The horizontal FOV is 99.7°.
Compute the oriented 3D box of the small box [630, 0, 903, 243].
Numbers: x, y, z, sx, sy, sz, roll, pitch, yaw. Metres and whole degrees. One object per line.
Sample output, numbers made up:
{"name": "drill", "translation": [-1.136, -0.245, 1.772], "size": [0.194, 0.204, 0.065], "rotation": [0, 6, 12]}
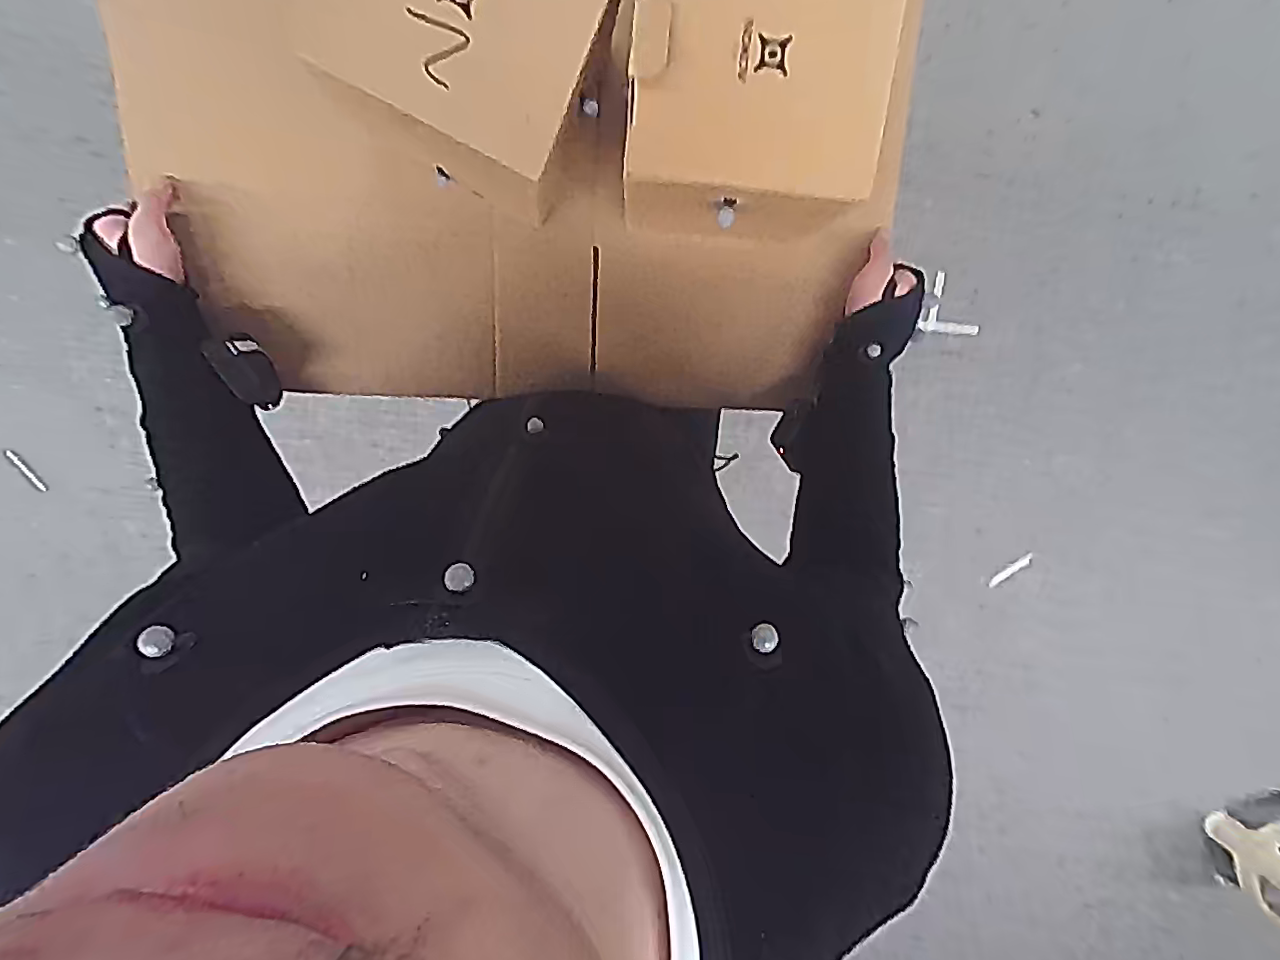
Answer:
{"name": "small box", "translation": [0.086, -0.305, 0.452], "size": [0.179, 0.176, 0.168], "rotation": [5, 104, -1]}
